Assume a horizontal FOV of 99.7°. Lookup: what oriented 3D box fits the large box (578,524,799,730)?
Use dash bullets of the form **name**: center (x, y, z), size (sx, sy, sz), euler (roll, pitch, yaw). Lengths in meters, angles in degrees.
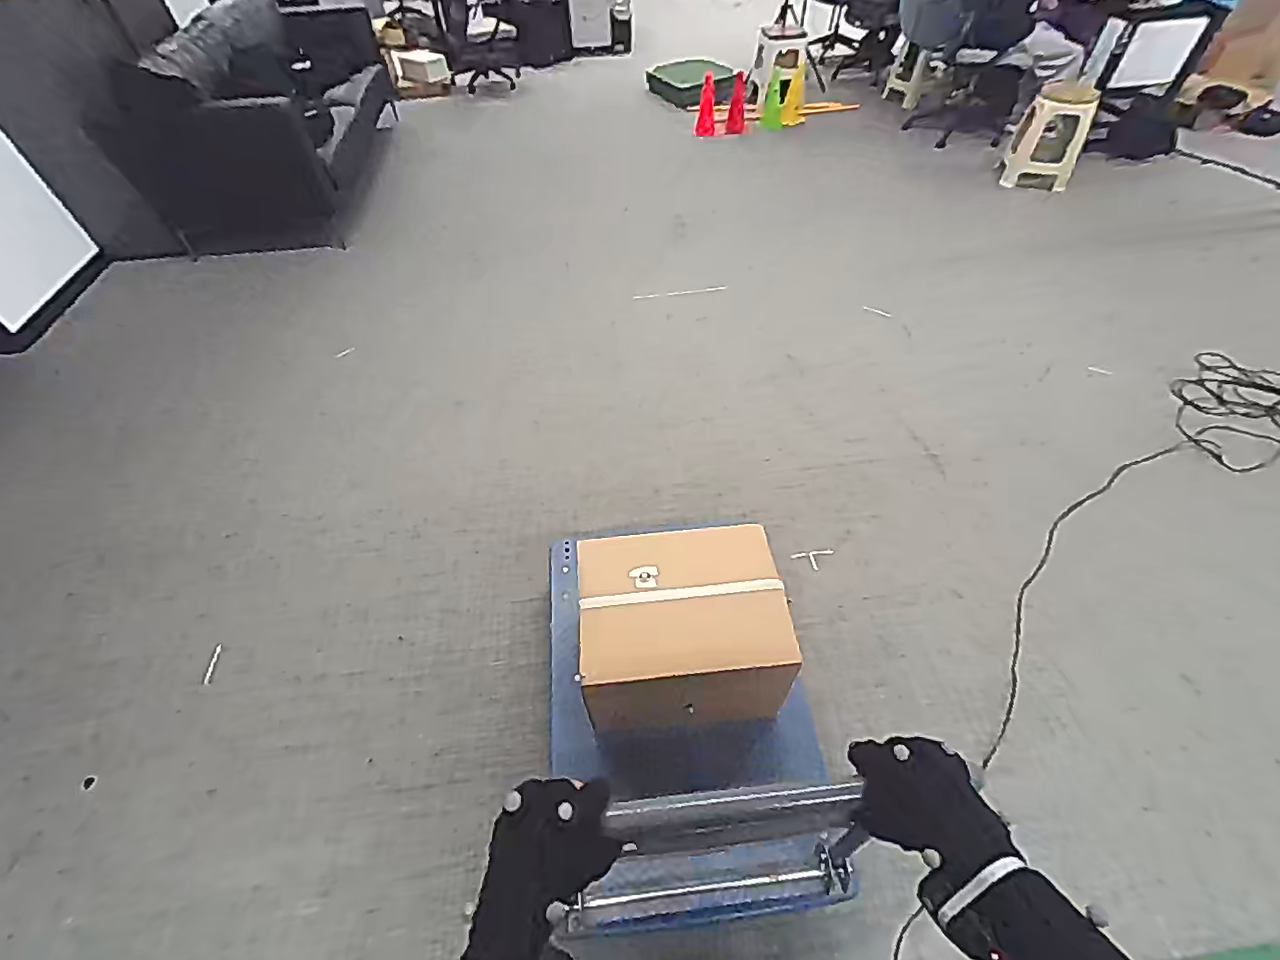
- **large box**: center (0.088, 0.327, 1.186), size (0.408, 0.320, 0.320), euler (-6, 49, -1)
